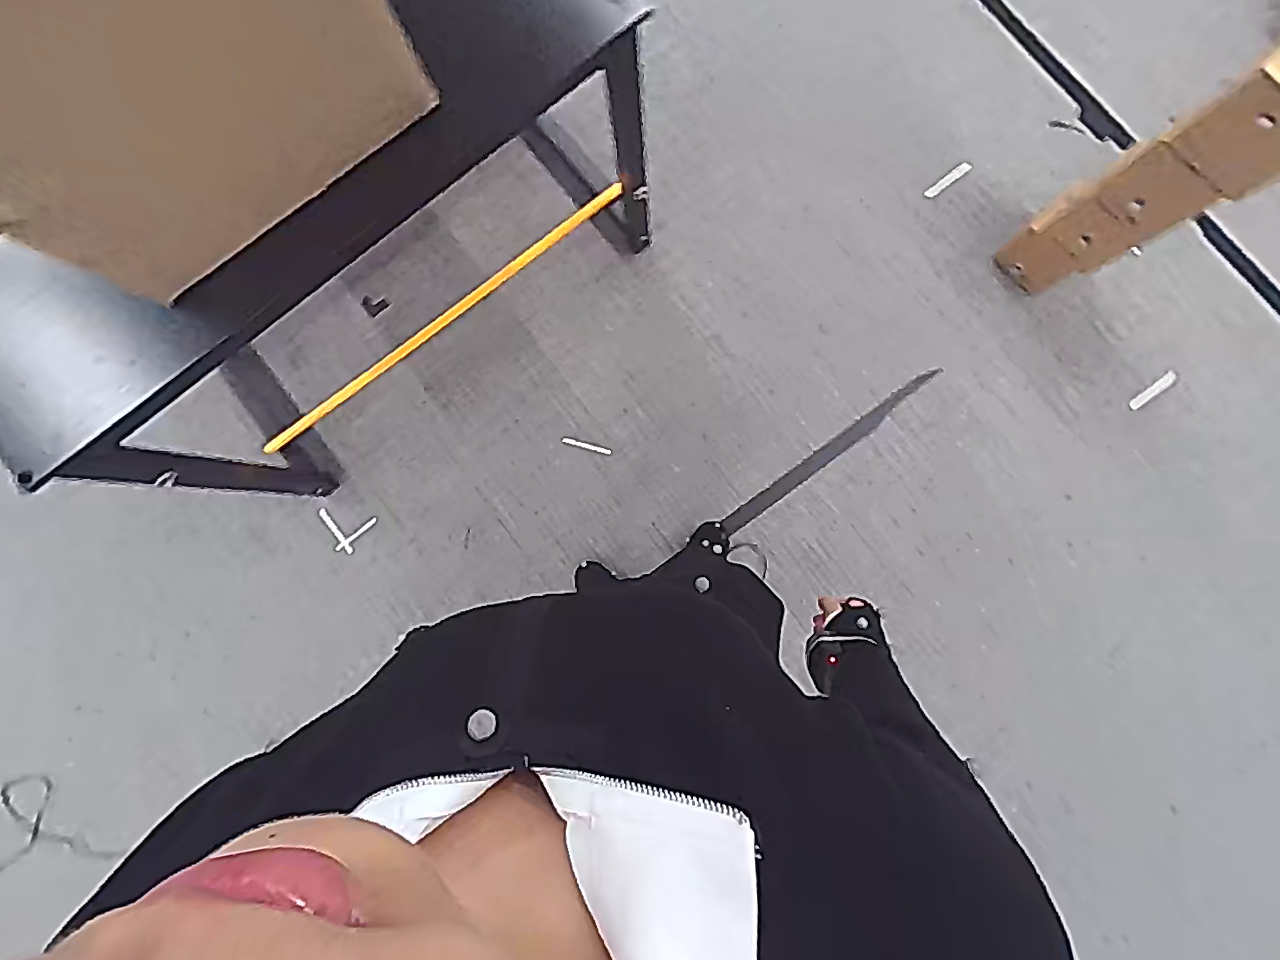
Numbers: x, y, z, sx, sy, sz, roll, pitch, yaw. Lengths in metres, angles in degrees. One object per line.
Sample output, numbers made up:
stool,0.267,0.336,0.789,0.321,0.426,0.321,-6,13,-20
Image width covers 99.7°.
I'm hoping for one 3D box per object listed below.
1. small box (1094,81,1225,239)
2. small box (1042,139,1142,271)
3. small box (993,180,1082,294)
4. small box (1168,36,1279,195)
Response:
small box,1.092,-0.634,1.093,0.179,0.176,0.168,-40,84,0
small box,1.091,-0.627,1.259,0.179,0.176,0.168,-45,85,0
small box,1.088,-0.631,1.424,0.179,0.176,0.168,-44,85,0
small box,1.091,-0.639,0.929,0.168,0.176,0.179,-43,86,-1
